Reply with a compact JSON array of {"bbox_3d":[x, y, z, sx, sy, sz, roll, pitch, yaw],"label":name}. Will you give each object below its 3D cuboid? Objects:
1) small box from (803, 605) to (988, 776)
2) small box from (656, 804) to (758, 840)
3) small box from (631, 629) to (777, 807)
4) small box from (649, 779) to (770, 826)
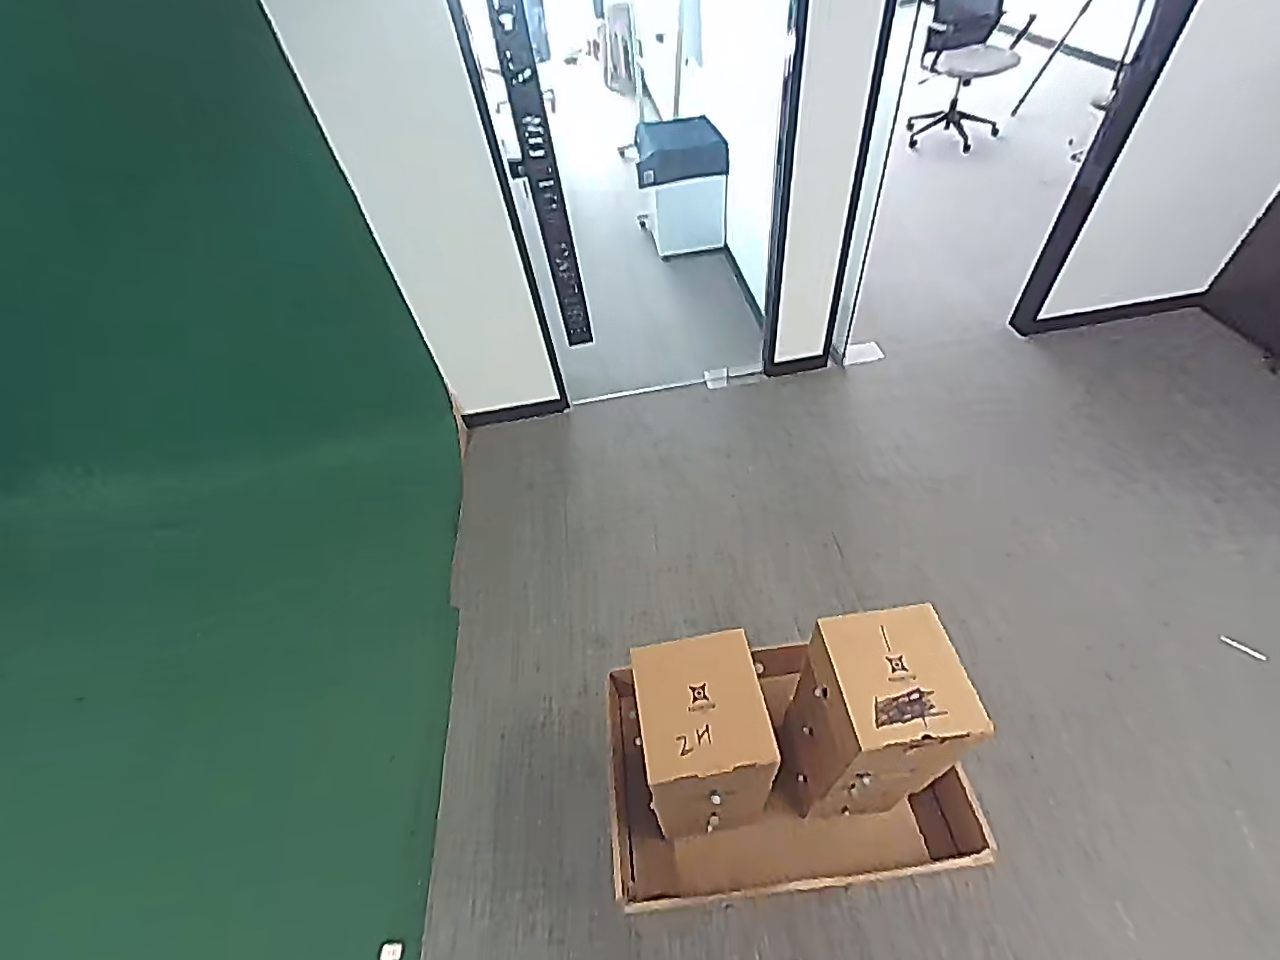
[{"bbox_3d":[0.342,0.303,0.765,0.168,0.176,0.179,-7,48,1],"label":"small box"},{"bbox_3d":[0.113,0.557,1.012,0.179,0.176,0.168,-8,49,-1],"label":"small box"},{"bbox_3d":[0.083,0.339,0.767,0.168,0.176,0.179,-10,49,0],"label":"small box"},{"bbox_3d":[0.098,0.450,0.888,0.179,0.176,0.168,-9,49,-2],"label":"small box"}]
